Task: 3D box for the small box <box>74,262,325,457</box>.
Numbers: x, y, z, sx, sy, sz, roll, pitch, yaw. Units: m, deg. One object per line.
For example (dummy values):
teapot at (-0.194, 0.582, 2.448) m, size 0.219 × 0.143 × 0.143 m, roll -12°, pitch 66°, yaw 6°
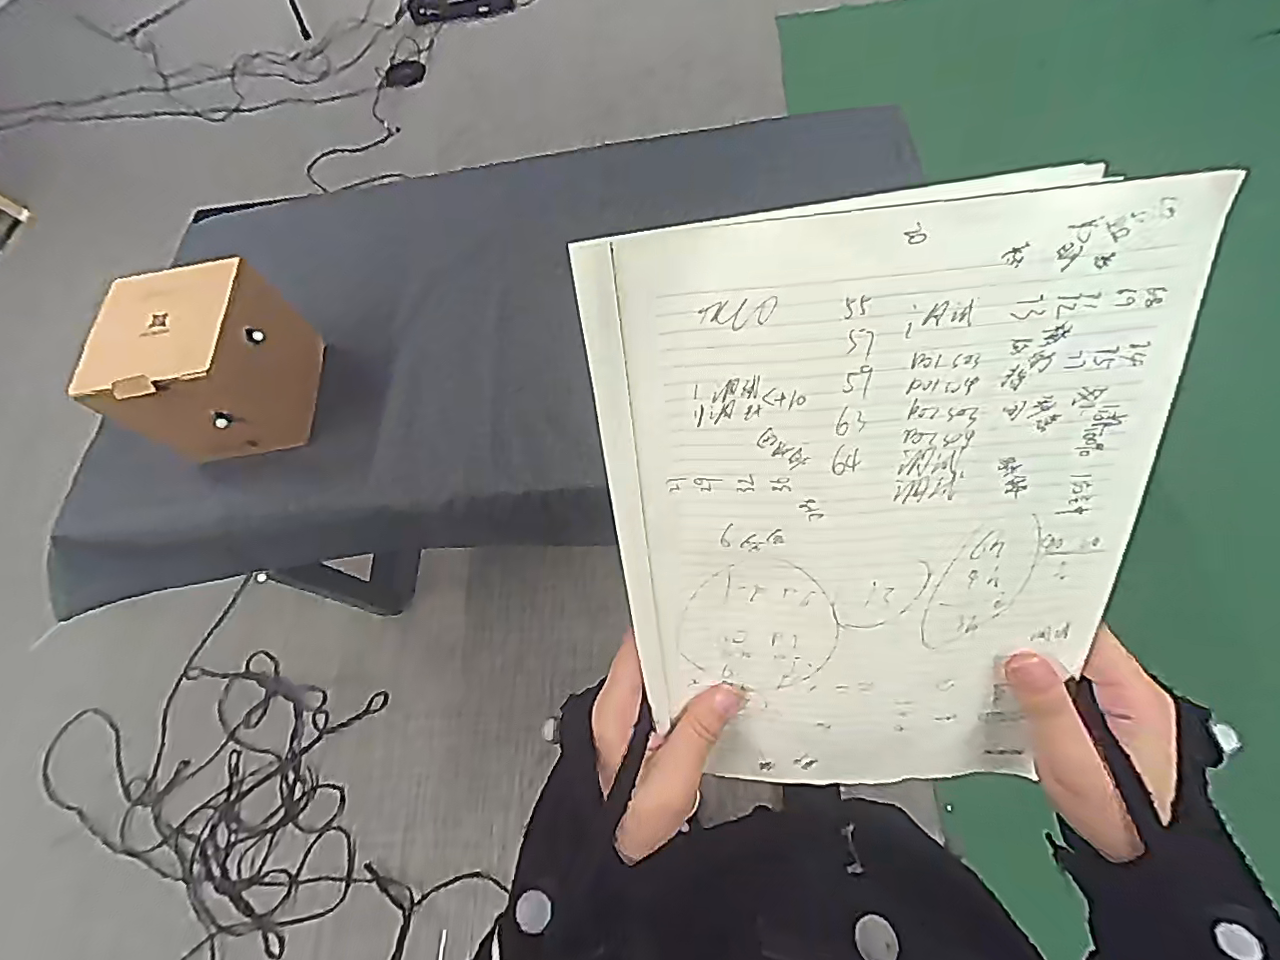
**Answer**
small box at (-0.539, -0.142, 0.695) m, size 0.168 × 0.176 × 0.179 m, roll -8°, pitch 63°, yaw 3°
